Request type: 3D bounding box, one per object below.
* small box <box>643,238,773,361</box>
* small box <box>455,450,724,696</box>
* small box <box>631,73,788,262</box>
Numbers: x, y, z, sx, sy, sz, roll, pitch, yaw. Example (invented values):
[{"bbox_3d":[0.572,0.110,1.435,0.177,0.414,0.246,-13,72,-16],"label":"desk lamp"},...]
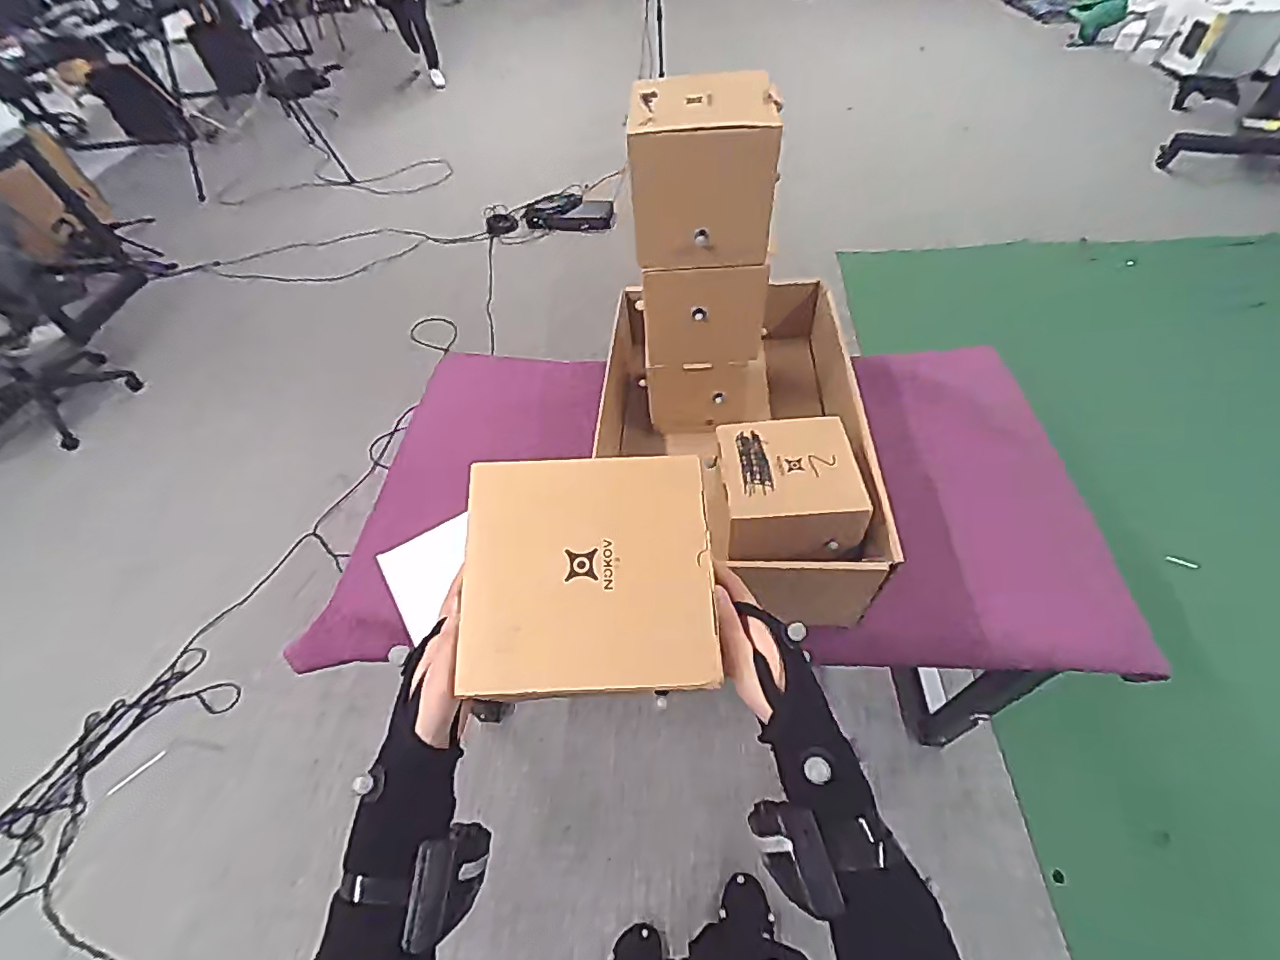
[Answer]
[{"bbox_3d":[0.097,-0.301,0.836,0.179,0.176,0.168,-2,53,4],"label":"small box"},{"bbox_3d":[-0.036,0.086,0.449,0.179,0.176,0.168,-2,67,-3],"label":"small box"},{"bbox_3d":[0.084,-0.403,0.708,0.179,0.176,0.168,1,53,4],"label":"small box"}]
